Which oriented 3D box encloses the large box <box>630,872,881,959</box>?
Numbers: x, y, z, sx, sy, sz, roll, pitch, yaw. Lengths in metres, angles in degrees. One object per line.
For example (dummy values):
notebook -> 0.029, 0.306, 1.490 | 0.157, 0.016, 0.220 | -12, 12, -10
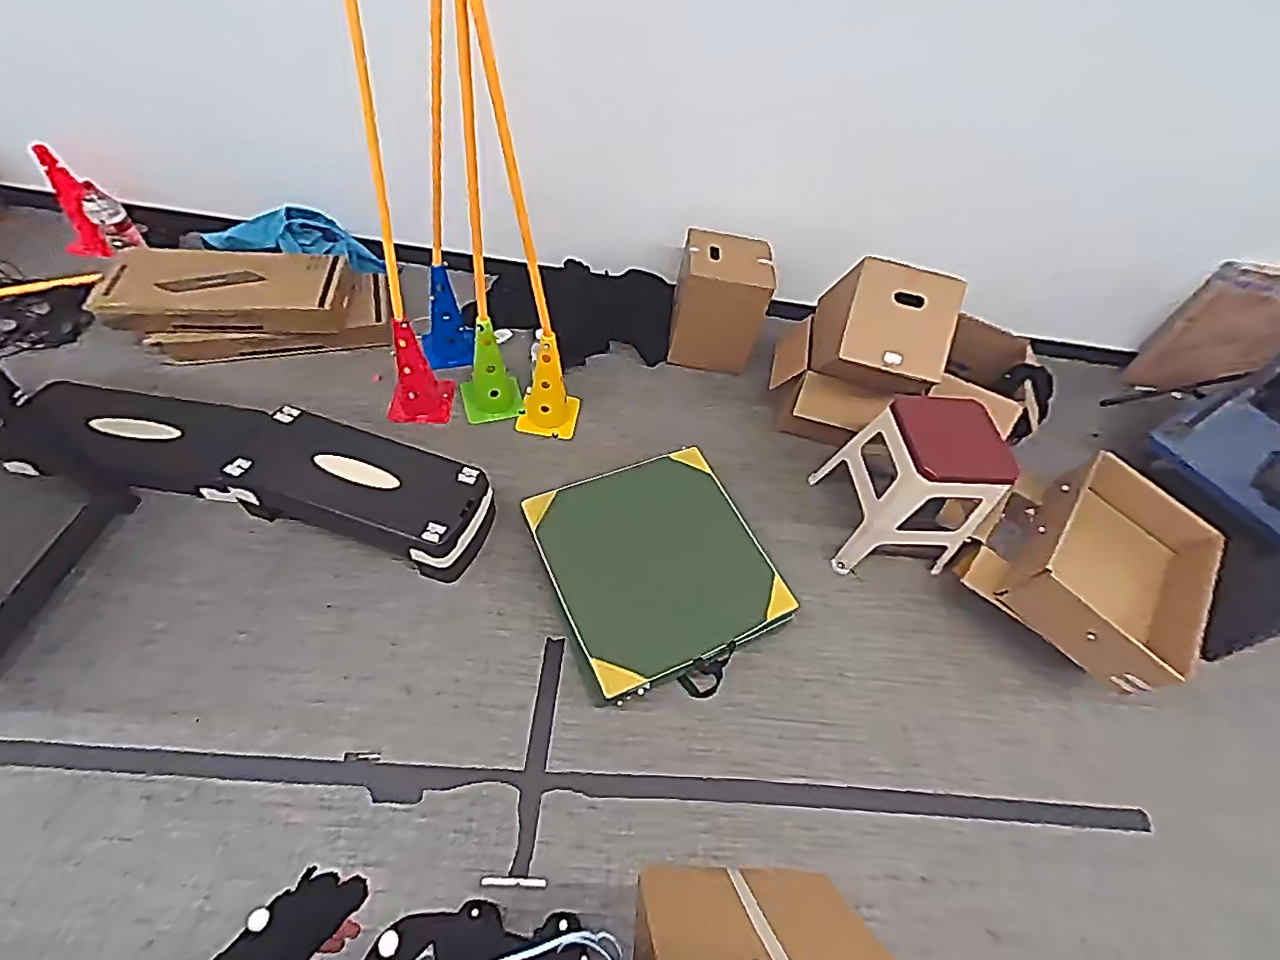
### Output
large box -> 0.156, 0.763, 0.670 | 0.320, 0.408, 0.320 | 4, 79, -6
